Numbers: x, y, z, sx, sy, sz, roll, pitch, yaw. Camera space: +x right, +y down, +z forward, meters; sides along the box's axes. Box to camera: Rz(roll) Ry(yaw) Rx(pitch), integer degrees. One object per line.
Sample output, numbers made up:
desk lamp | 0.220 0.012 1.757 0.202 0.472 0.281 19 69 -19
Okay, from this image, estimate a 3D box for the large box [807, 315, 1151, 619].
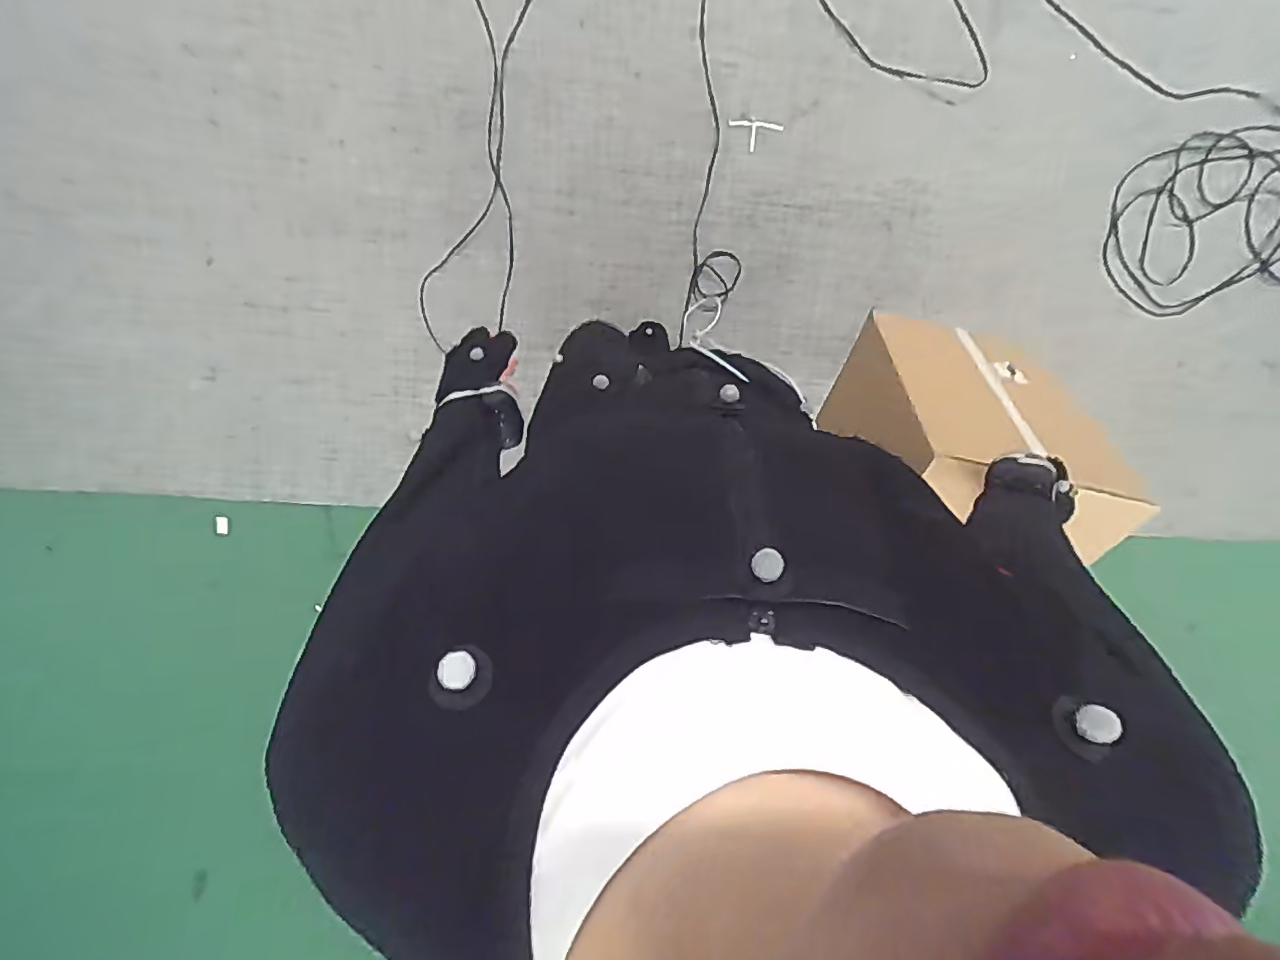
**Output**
large box | 0.512 -0.028 0.938 0.320 0.408 0.320 13 134 -3
